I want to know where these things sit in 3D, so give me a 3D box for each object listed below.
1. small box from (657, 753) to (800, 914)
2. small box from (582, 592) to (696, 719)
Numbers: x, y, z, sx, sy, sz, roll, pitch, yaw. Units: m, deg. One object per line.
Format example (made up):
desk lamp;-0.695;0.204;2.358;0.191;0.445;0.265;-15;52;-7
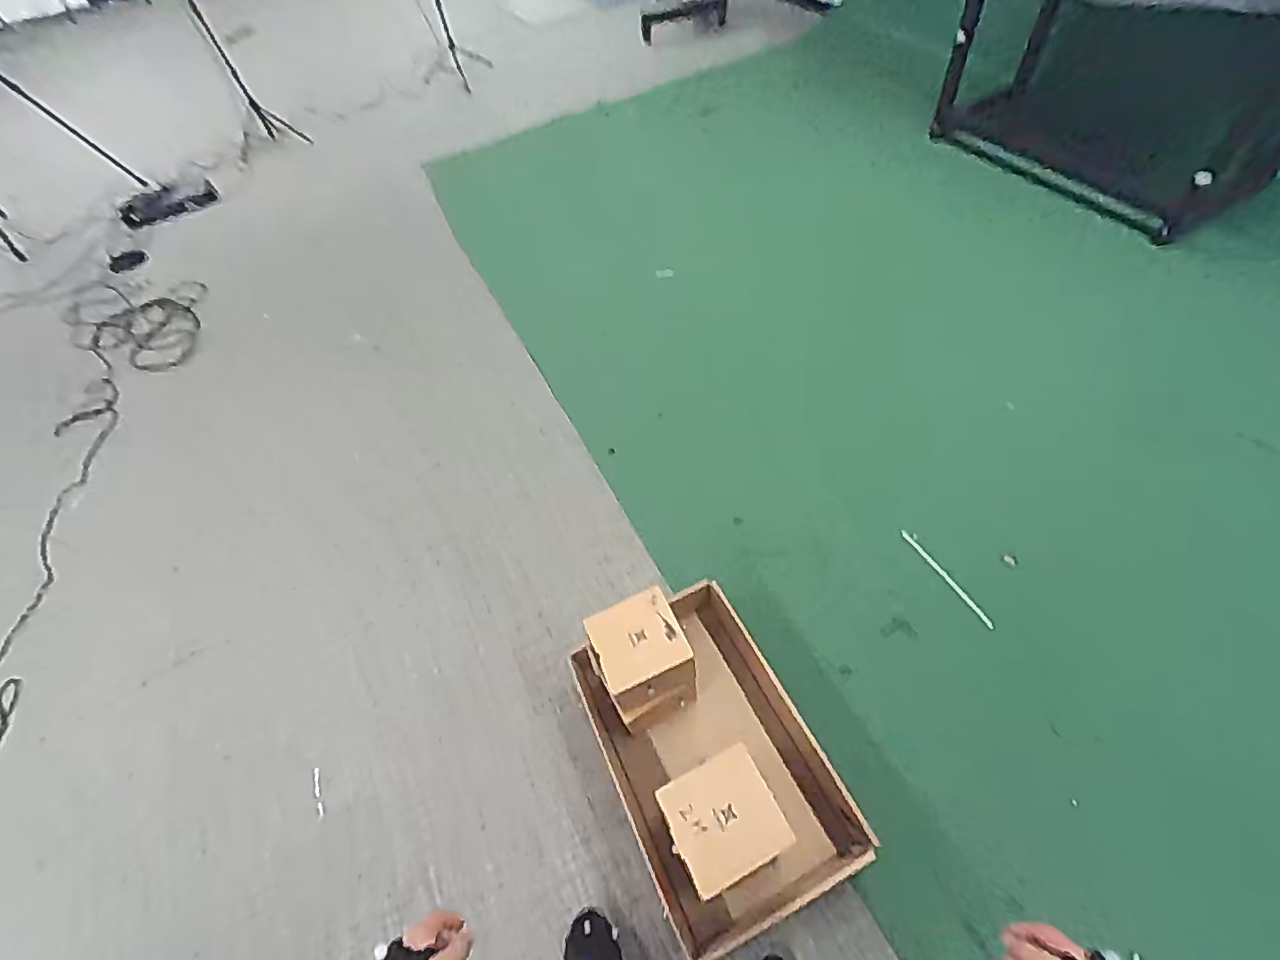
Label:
small box;0.146;0.599;0.926;0.179;0.176;0.168;-25;55;-9
small box;0.003;0.365;1.111;0.179;0.176;0.168;-24;56;-8
